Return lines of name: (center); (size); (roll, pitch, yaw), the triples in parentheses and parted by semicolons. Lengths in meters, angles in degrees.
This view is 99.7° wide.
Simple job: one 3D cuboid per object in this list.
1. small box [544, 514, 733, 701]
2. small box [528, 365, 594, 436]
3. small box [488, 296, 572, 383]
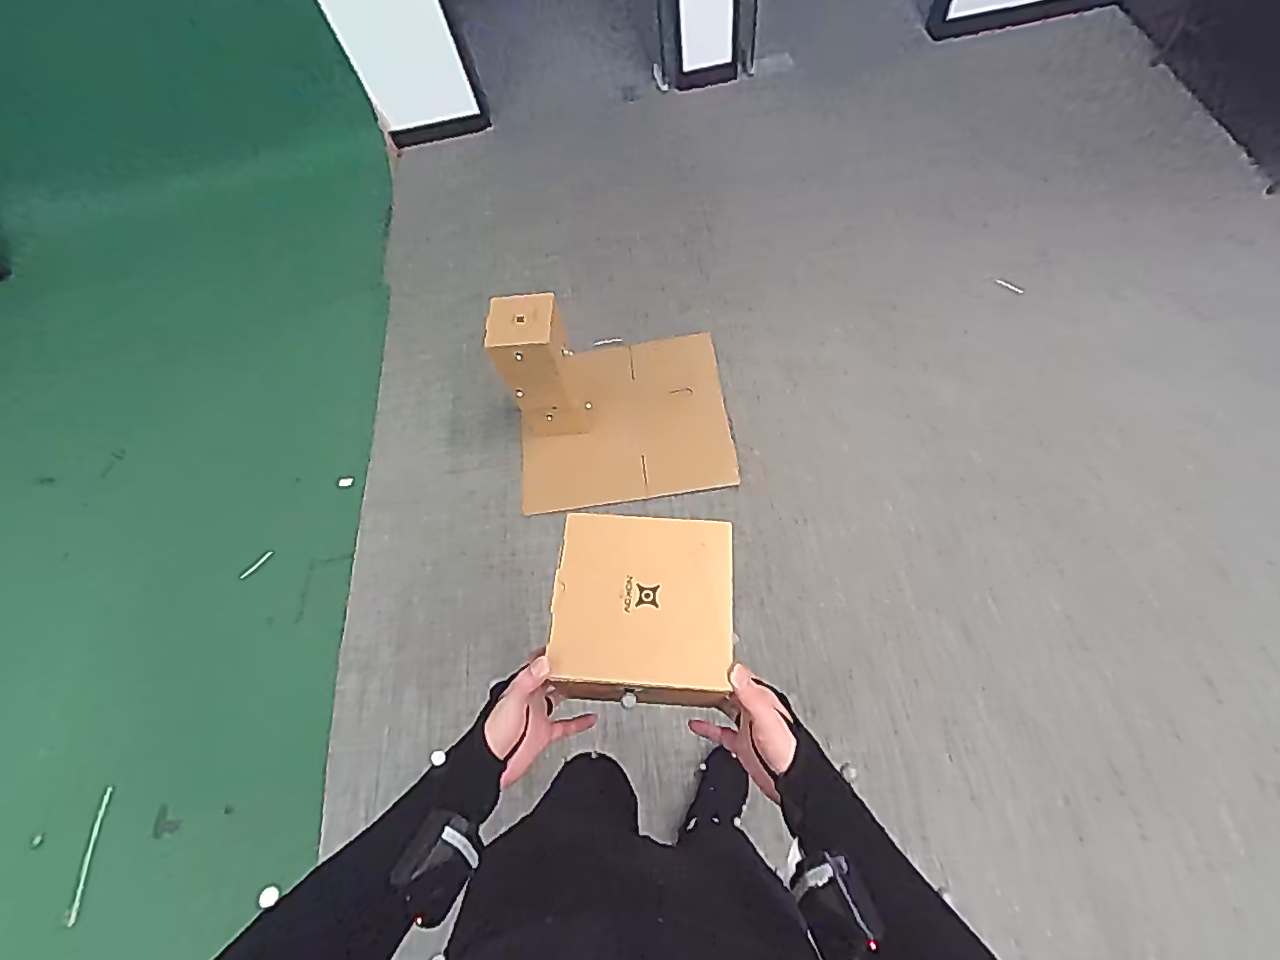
small box: (0.006, 0.148, 0.600); (0.179, 0.176, 0.168); (2, 63, 4)
small box: (-0.258, -0.257, 1.788); (0.179, 0.176, 0.168); (-4, 65, 6)
small box: (-0.296, -0.380, 1.487); (0.179, 0.176, 0.168); (-2, 66, 7)
